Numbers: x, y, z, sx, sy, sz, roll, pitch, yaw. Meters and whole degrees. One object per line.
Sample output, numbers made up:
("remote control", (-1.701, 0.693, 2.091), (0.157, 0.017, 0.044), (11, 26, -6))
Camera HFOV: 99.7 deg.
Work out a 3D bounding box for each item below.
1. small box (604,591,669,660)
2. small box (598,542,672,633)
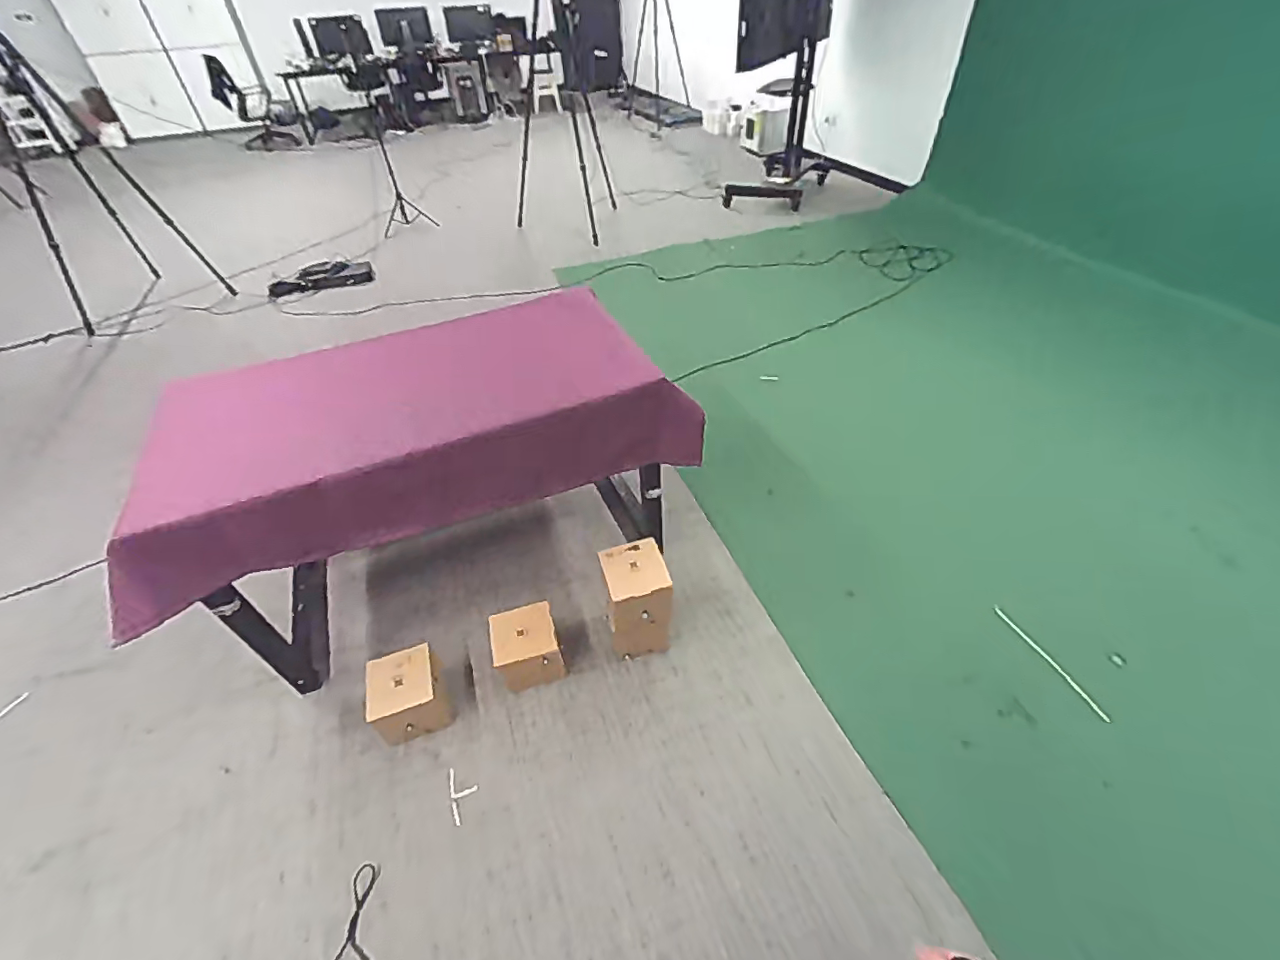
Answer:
("small box", (-0.009, 0.421, 1.623), (0.168, 0.176, 0.179), (-10, 43, -7))
("small box", (-0.011, 0.306, 1.506), (0.168, 0.176, 0.179), (-13, 45, -10))
